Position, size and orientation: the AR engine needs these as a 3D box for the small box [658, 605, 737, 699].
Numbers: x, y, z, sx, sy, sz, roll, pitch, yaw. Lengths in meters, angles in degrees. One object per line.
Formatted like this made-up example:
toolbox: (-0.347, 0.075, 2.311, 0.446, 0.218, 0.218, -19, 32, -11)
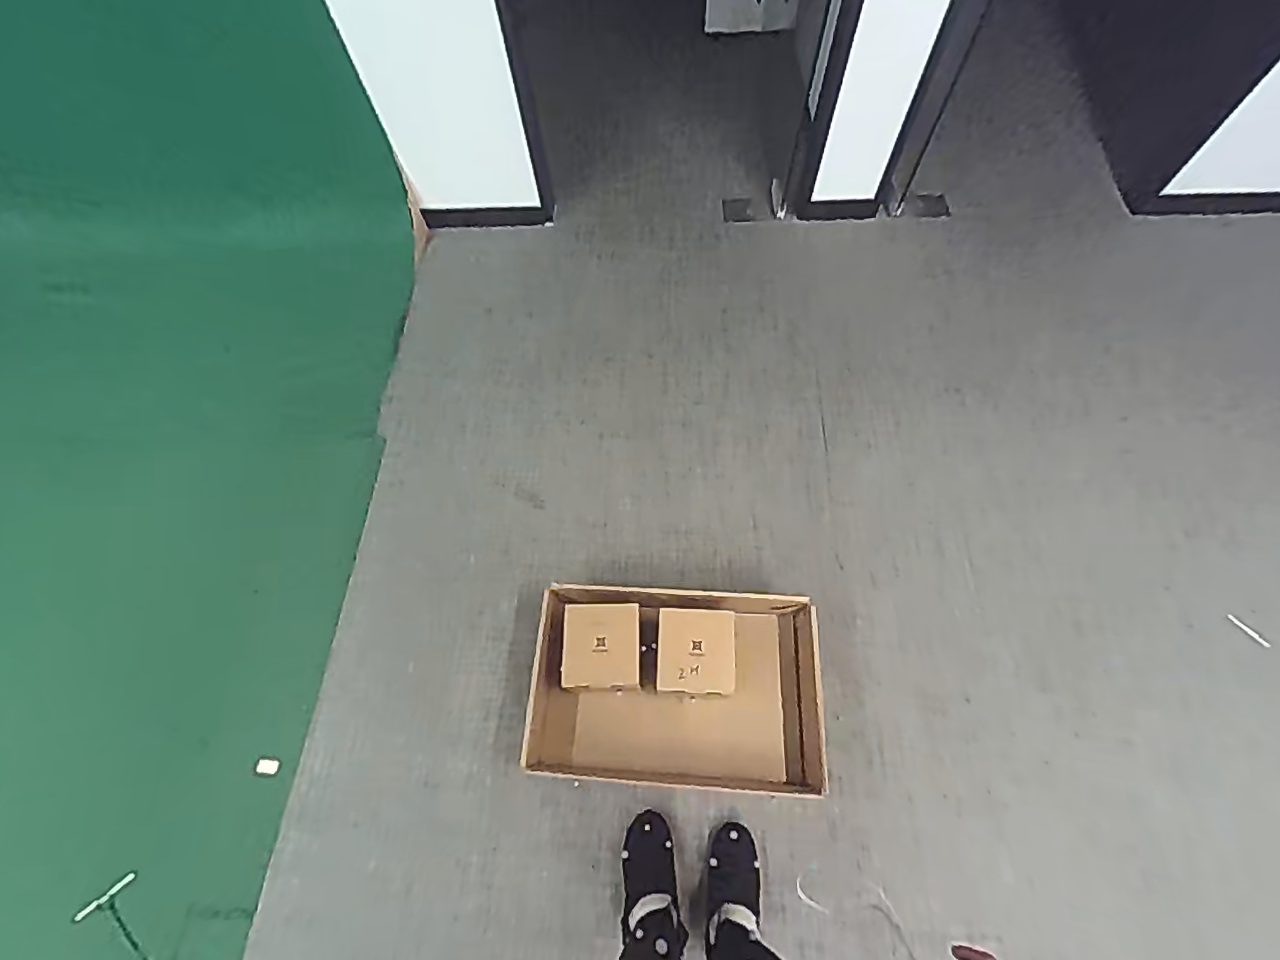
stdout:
small box: (0.129, 0.392, 1.222, 0.168, 0.176, 0.179, 2, 65, 6)
